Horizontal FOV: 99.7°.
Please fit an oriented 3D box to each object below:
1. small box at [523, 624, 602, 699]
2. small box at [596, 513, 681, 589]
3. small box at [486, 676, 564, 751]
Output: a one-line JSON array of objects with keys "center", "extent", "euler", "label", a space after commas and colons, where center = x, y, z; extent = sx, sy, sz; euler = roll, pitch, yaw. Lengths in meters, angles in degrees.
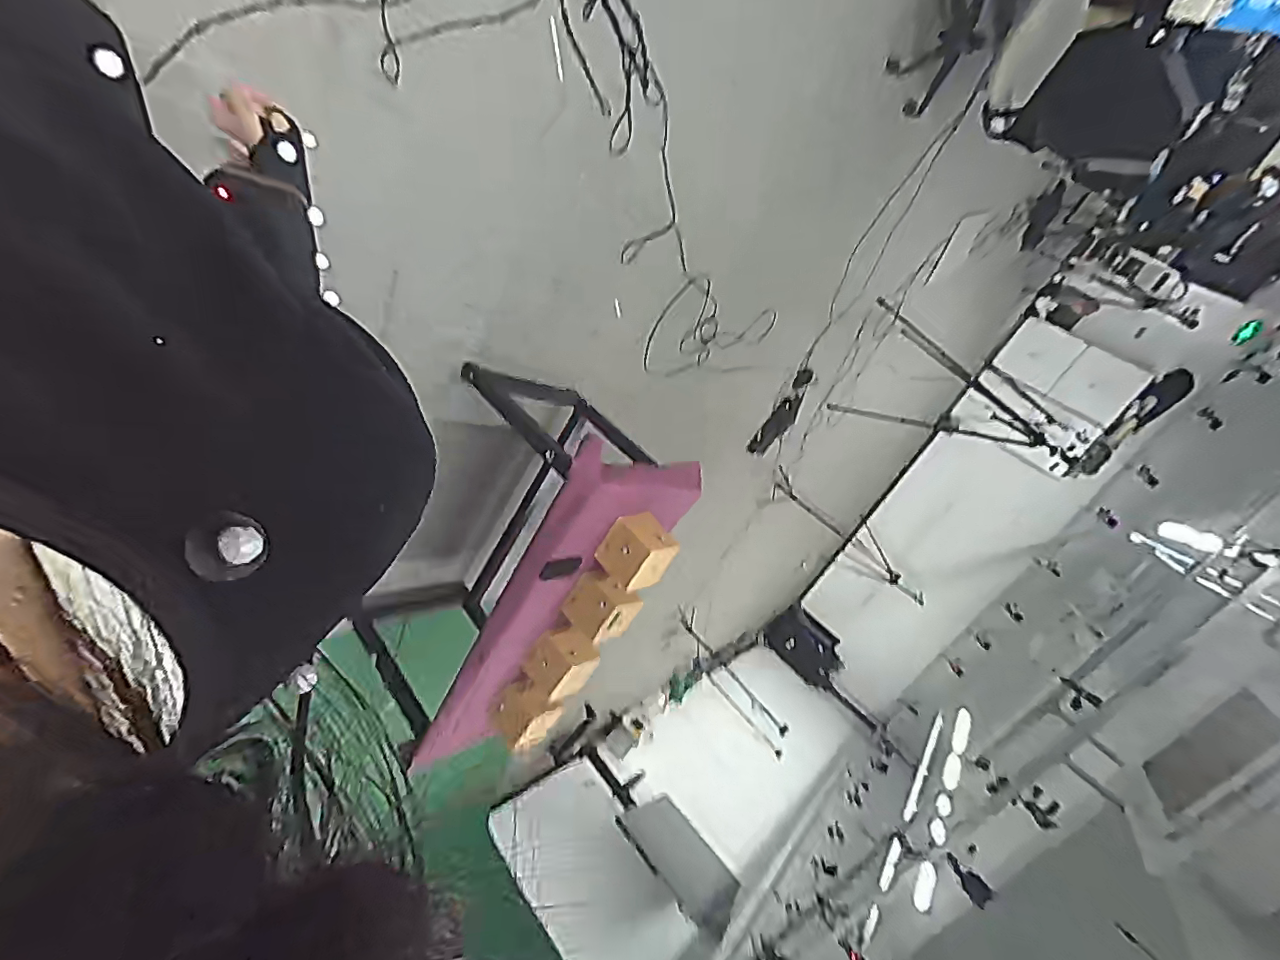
[{"center": [-0.272, 0.622, 1.876], "extent": [0.168, 0.176, 0.179], "euler": [-55, 152, 15], "label": "small box"}, {"center": [-0.009, 0.222, 1.730], "extent": [0.179, 0.176, 0.168], "euler": [-1, 127, -56], "label": "small box"}, {"center": [-0.414, 0.830, 1.946], "extent": [0.168, 0.176, 0.179], "euler": [-56, 151, 13], "label": "small box"}]
